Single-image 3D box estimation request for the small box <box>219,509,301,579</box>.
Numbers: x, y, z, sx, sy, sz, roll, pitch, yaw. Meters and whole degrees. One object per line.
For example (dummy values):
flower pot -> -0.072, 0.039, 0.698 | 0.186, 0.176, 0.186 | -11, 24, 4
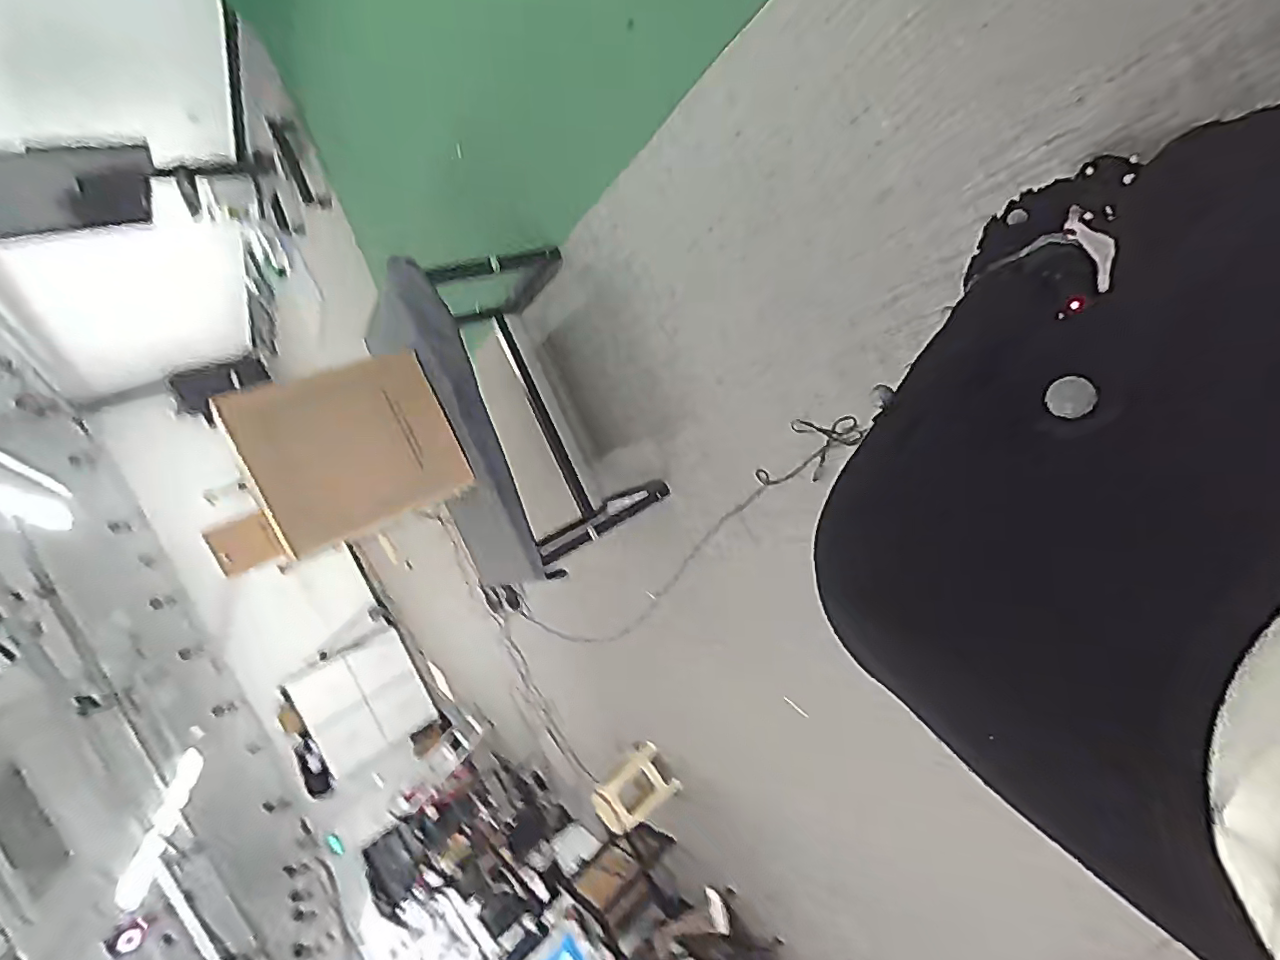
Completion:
small box -> -1.232, 0.210, 1.765 | 0.179, 0.176, 0.168 | -19, 99, 55
